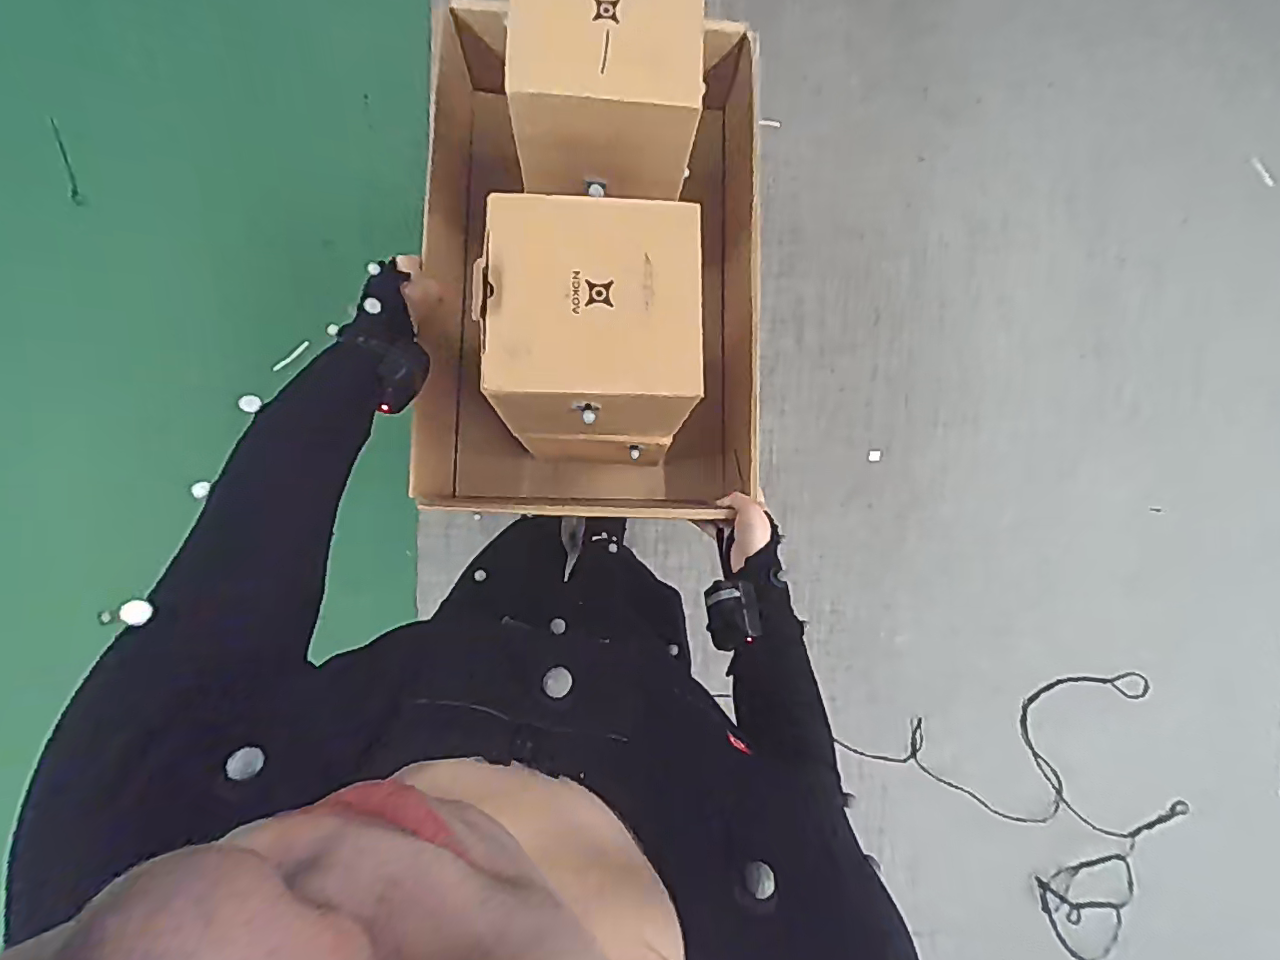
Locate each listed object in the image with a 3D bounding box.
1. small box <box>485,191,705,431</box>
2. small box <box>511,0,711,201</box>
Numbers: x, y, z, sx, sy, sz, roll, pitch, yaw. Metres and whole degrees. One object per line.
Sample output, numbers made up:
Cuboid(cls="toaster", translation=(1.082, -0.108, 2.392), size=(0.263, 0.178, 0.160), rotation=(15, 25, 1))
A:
Cuboid(cls="small box", translation=(-0.040, -0.143, 0.515), size=(0.179, 0.176, 0.168), rotation=(1, 84, -6))
Cuboid(cls="small box", translation=(-0.028, -0.395, 0.536), size=(0.168, 0.176, 0.179), rotation=(3, 86, -5))
